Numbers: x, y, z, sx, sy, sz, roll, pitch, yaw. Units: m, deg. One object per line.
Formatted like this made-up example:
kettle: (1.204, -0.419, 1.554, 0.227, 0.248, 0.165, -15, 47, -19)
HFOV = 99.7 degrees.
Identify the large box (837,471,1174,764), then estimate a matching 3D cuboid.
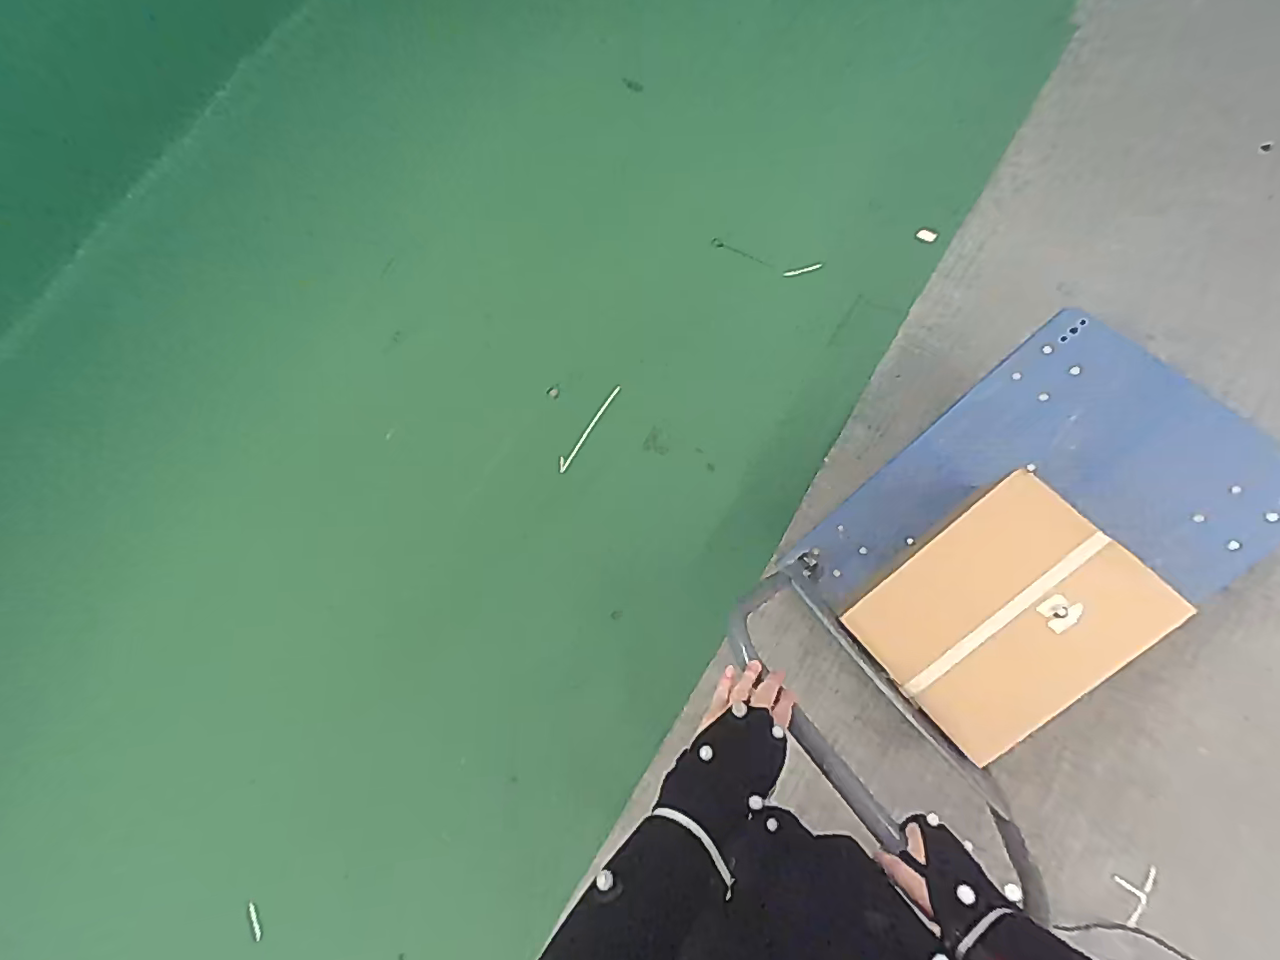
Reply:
large box: (0.642, 0.249, 1.048, 0.408, 0.320, 0.320, -44, 71, 9)
